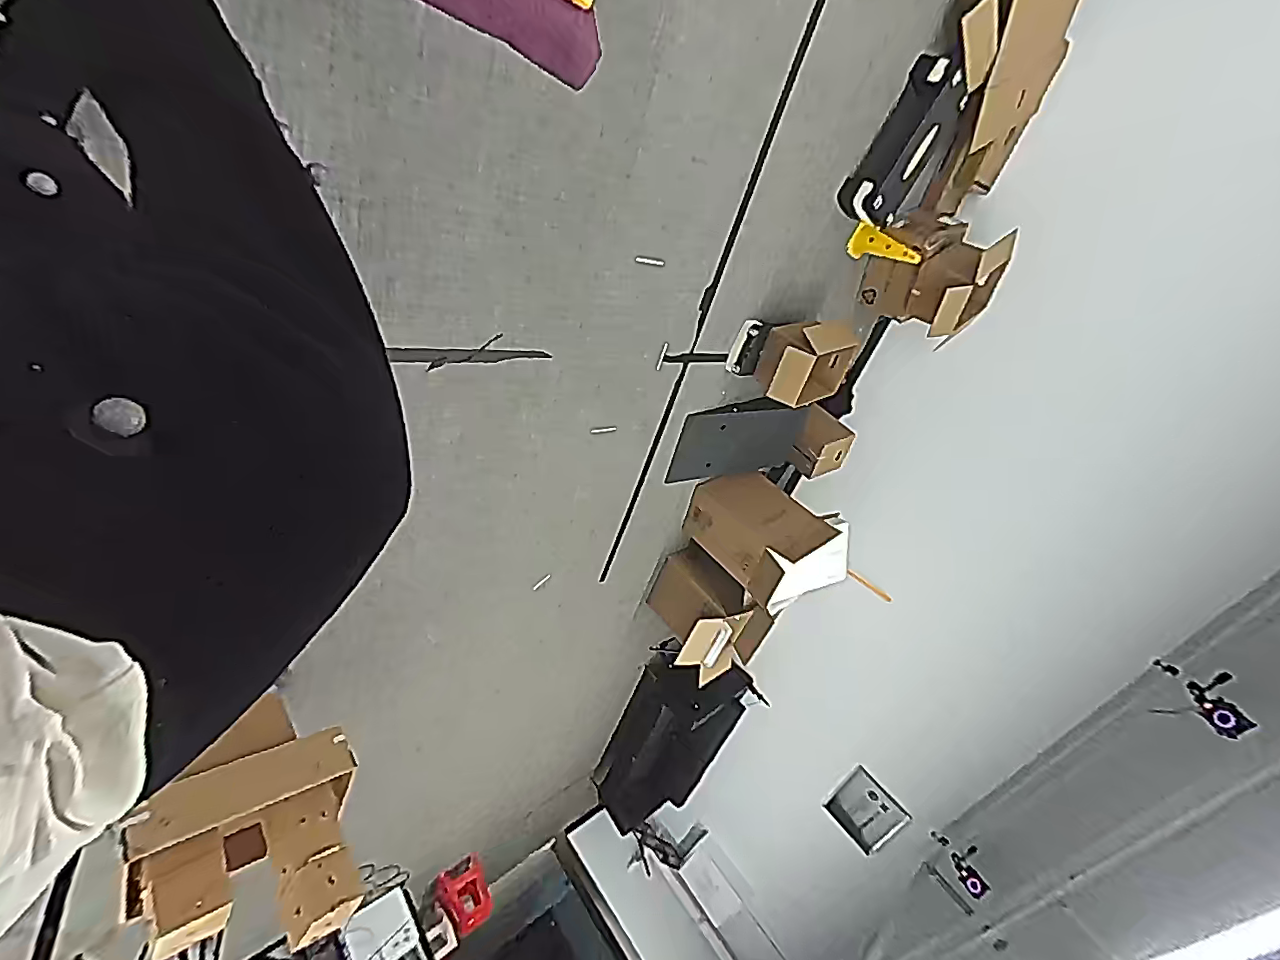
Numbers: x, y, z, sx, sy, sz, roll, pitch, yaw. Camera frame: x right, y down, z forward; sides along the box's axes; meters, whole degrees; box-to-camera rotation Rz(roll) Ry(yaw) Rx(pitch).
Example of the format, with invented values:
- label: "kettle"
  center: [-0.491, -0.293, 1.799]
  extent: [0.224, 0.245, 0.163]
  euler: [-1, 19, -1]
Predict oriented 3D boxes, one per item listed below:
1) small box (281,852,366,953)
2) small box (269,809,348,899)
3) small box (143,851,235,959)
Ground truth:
- label: "small box"
  center: [-1.030, 1.353, 1.752]
  extent: [0.168, 0.176, 0.179]
  euler: [13, 116, -54]
- label: "small box"
  center: [-1.134, 1.260, 1.840]
  extent: [0.168, 0.176, 0.179]
  euler: [7, 122, -53]
- label: "small box"
  center: [-1.336, 1.255, 1.596]
  extent: [0.179, 0.176, 0.168]
  euler: [-1, 128, -51]
